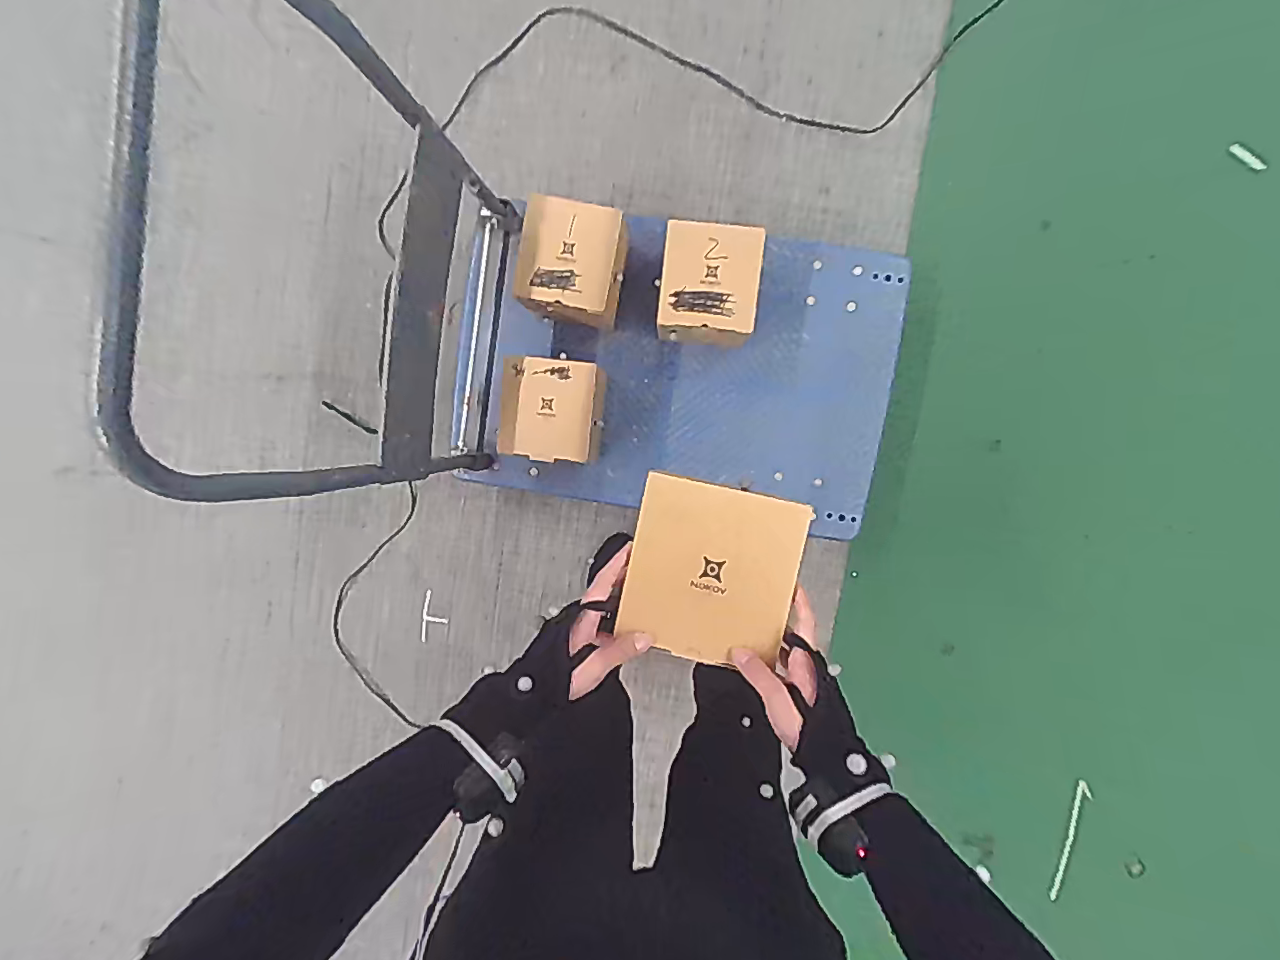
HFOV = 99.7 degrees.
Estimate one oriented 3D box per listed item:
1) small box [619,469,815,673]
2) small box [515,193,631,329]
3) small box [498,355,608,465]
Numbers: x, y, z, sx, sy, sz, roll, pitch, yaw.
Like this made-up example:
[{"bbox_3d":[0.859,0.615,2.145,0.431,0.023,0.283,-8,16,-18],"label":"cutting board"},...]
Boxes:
[{"bbox_3d":[0.080,0.087,0.616,0.168,0.176,0.179,12,94,3],"label":"small box"},{"bbox_3d":[-0.114,-0.388,0.993,0.168,0.176,0.179,12,95,1],"label":"small box"},{"bbox_3d":[-0.155,-0.129,1.017,0.168,0.176,0.179,7,96,2],"label":"small box"}]
